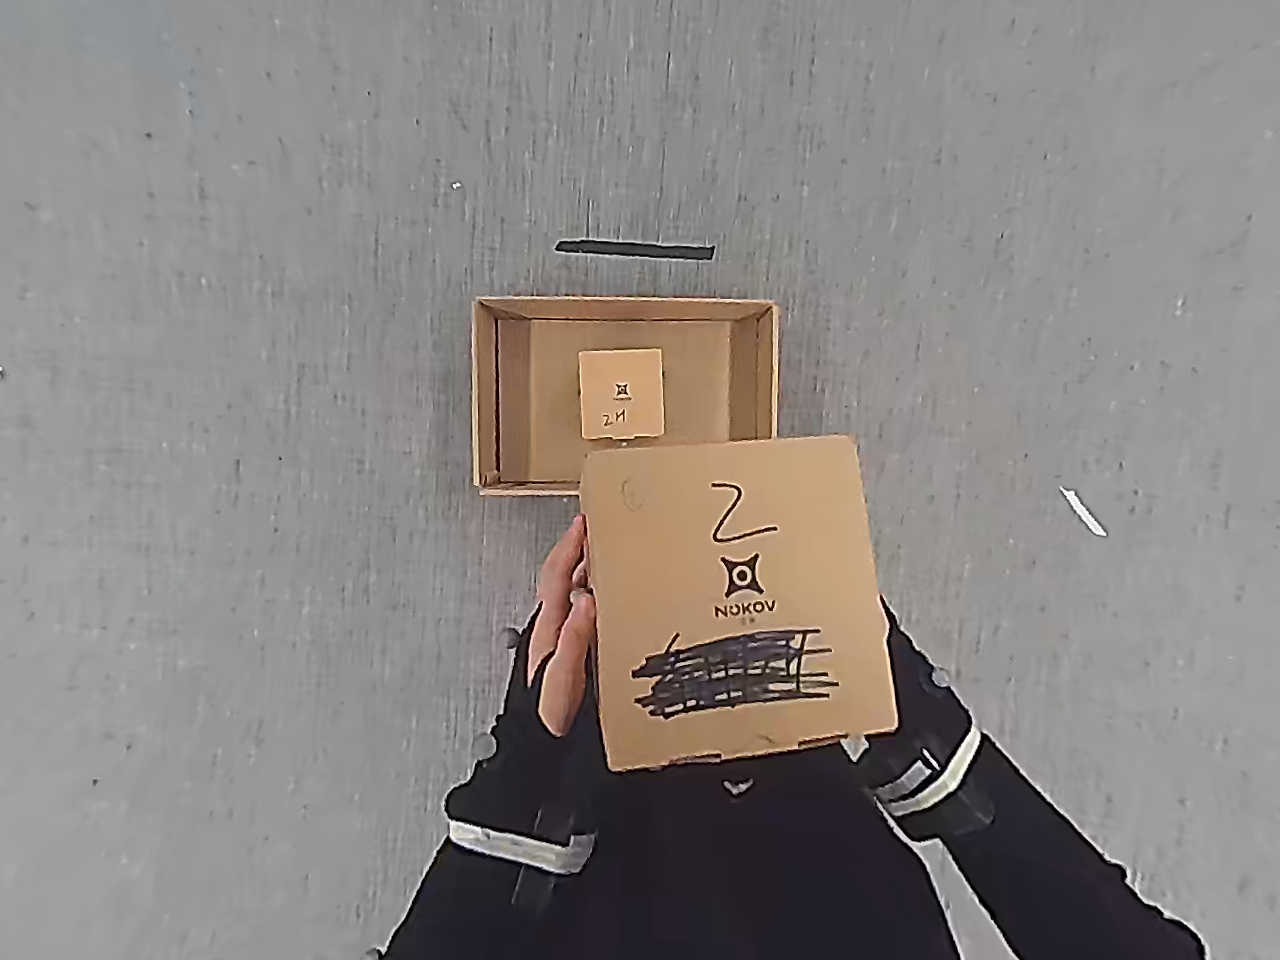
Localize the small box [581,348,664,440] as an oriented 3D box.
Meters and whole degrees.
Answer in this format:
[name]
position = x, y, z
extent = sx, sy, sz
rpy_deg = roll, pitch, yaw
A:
[small box]
position = -0.038, -0.175, 1.147
extent = 0.168, 0.176, 0.179
rpy_deg = -2, 93, -1
